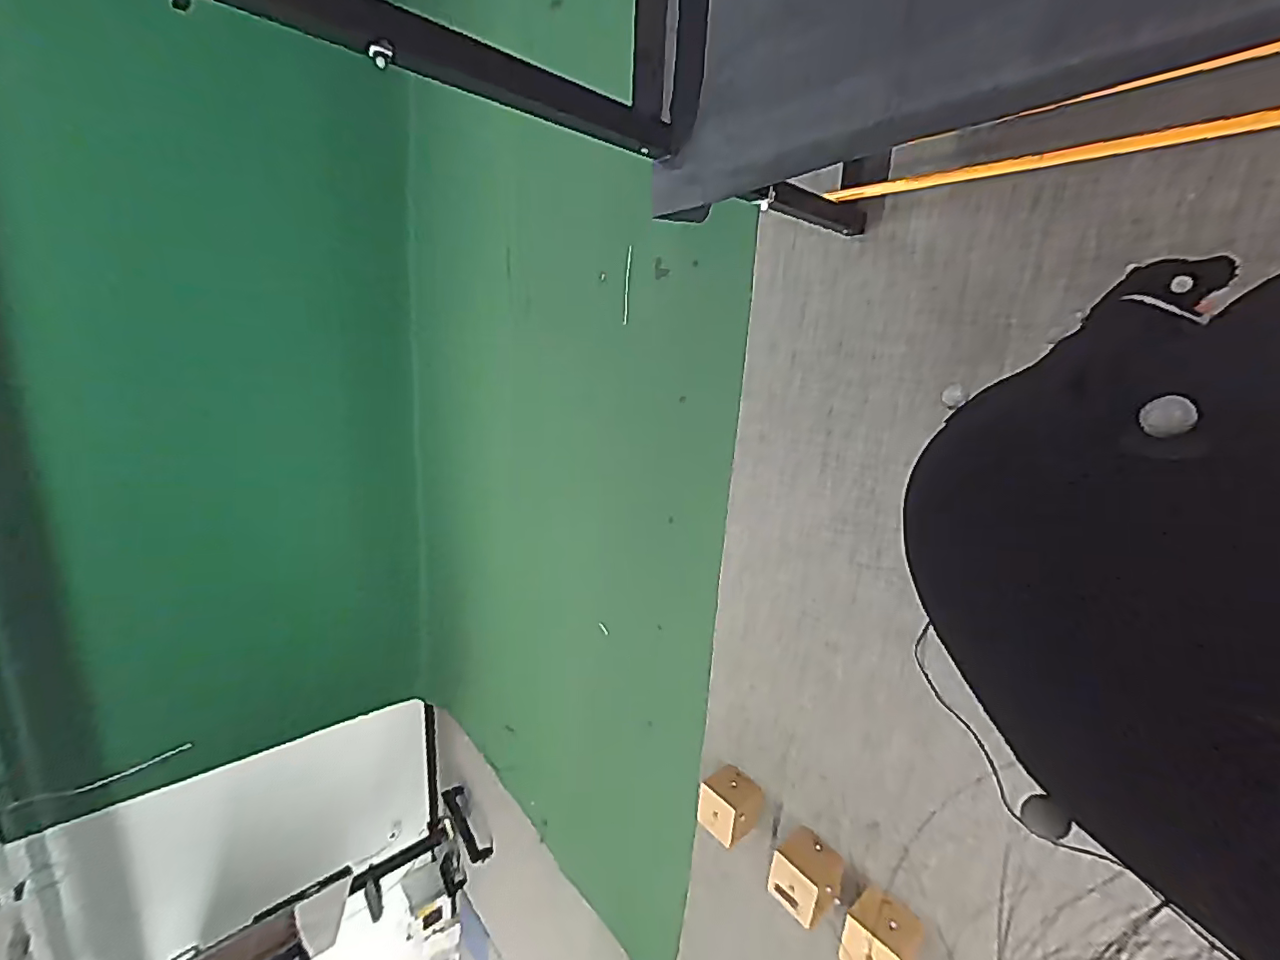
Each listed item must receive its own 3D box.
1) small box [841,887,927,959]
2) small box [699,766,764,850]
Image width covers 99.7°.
[{"bbox_3d":[0.726,1.373,1.605,0.168,0.176,0.179,19,110,46],"label":"small box"},{"bbox_3d":[0.346,1.219,2.029,0.168,0.176,0.179,20,111,47],"label":"small box"}]
